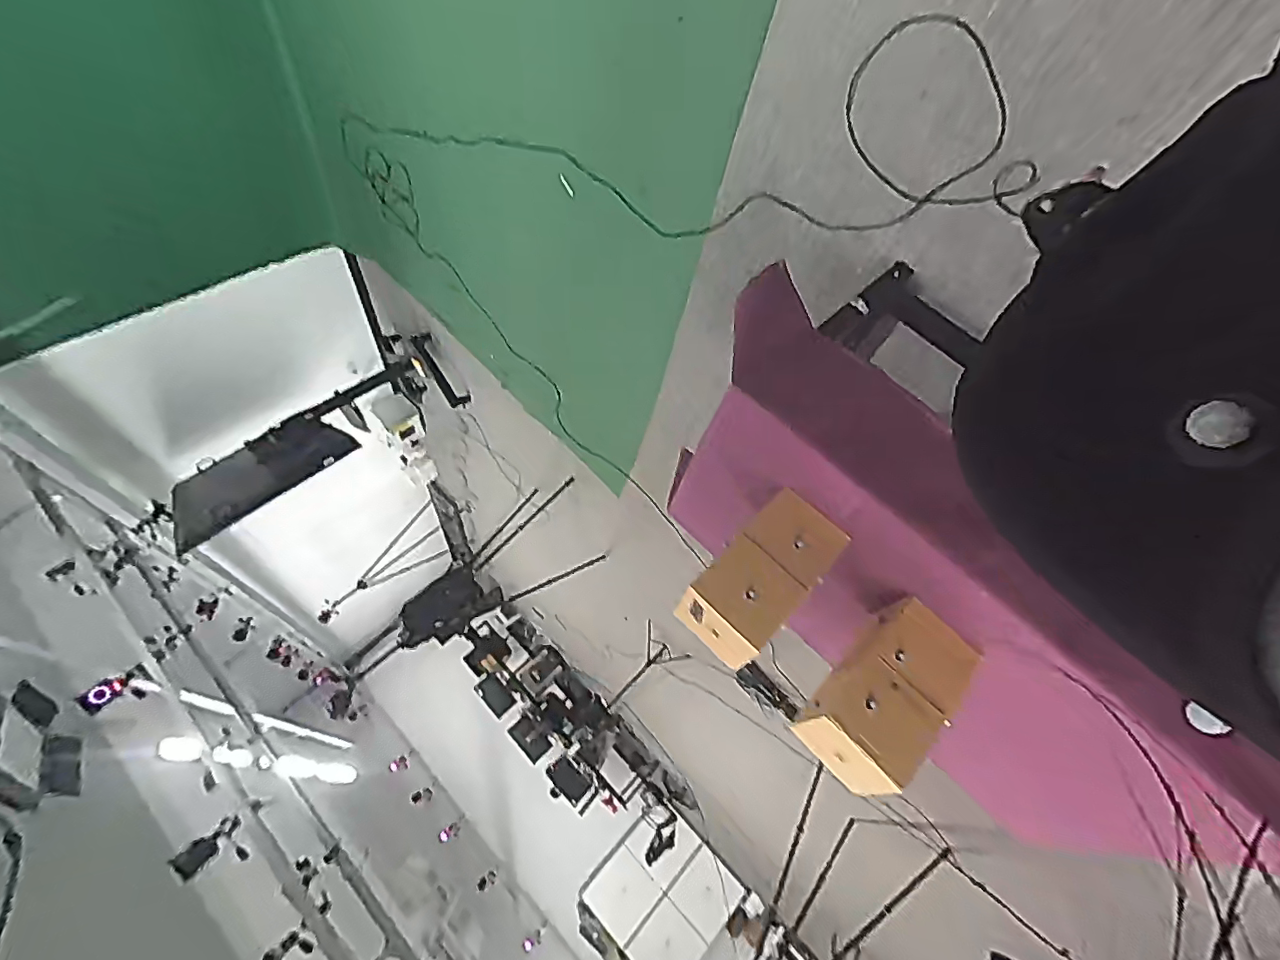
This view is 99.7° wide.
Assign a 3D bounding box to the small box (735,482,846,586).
[{"bbox_3d":[0.310,0.136,1.172,0.179,0.176,0.168,42,151,16],"label":"small box"}]

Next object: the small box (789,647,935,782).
[{"bbox_3d":[0.424,0.443,1.030,0.168,0.176,0.179,45,153,15],"label":"small box"}]

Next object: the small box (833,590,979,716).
[{"bbox_3d":[0.542,0.357,1.103,0.179,0.176,0.168,45,153,14],"label":"small box"}]

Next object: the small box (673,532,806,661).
[{"bbox_3d":[0.198,0.228,1.093,0.179,0.176,0.168,42,152,15],"label":"small box"}]
